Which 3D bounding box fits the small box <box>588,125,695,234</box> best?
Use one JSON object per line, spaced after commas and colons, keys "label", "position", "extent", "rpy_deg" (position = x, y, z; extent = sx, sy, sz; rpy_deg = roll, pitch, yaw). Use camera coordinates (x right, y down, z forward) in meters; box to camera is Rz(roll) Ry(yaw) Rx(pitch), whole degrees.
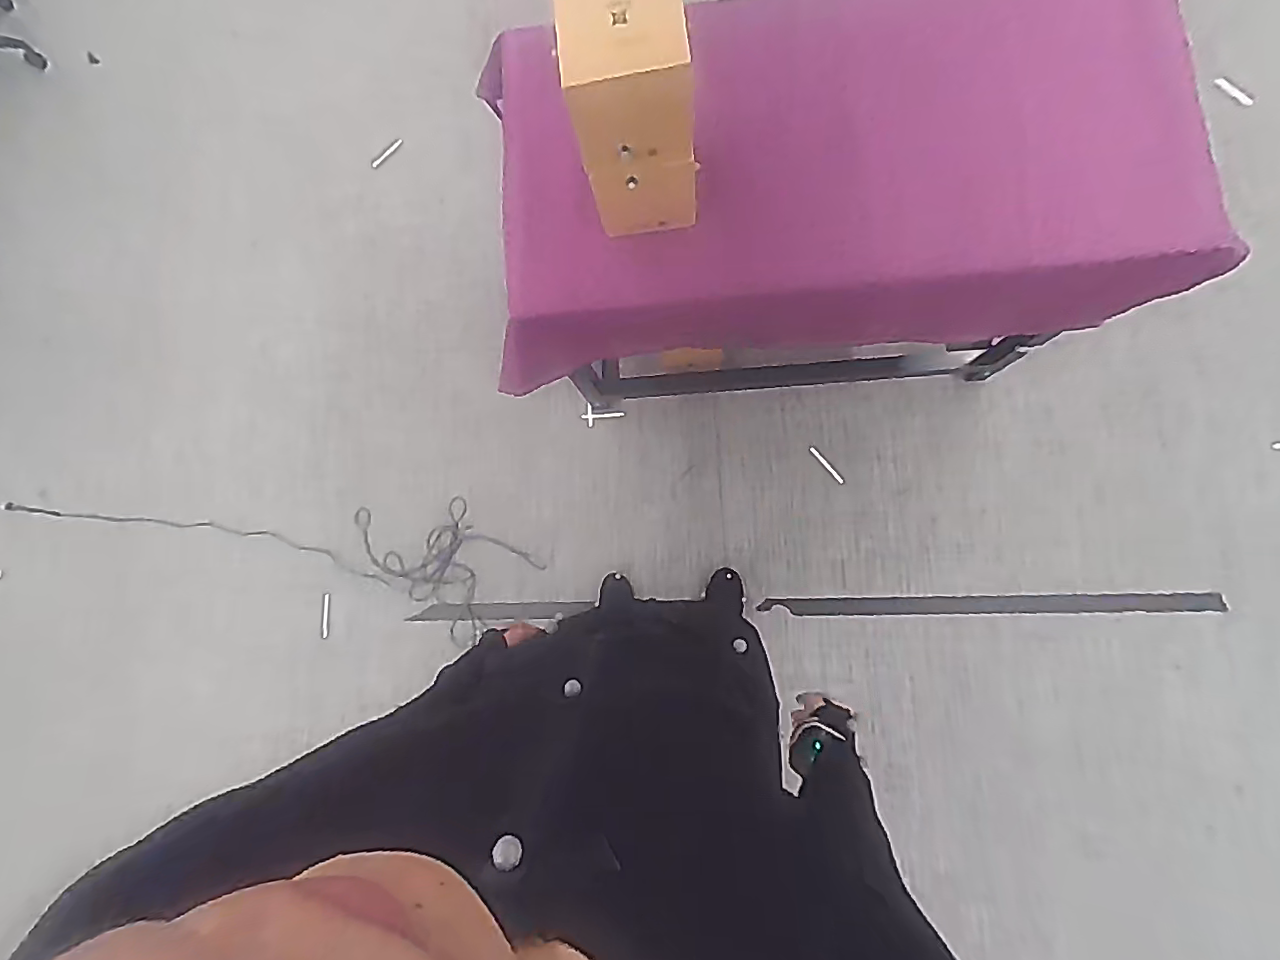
{"label": "small box", "position": [0.004, -0.553, 0.919], "extent": [0.168, 0.176, 0.179], "rpy_deg": [-5, 82, 6]}

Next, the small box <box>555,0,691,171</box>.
{"label": "small box", "position": [-0.018, -0.577, 0.758], "extent": [0.168, 0.176, 0.179], "rpy_deg": [-6, 82, 5]}
